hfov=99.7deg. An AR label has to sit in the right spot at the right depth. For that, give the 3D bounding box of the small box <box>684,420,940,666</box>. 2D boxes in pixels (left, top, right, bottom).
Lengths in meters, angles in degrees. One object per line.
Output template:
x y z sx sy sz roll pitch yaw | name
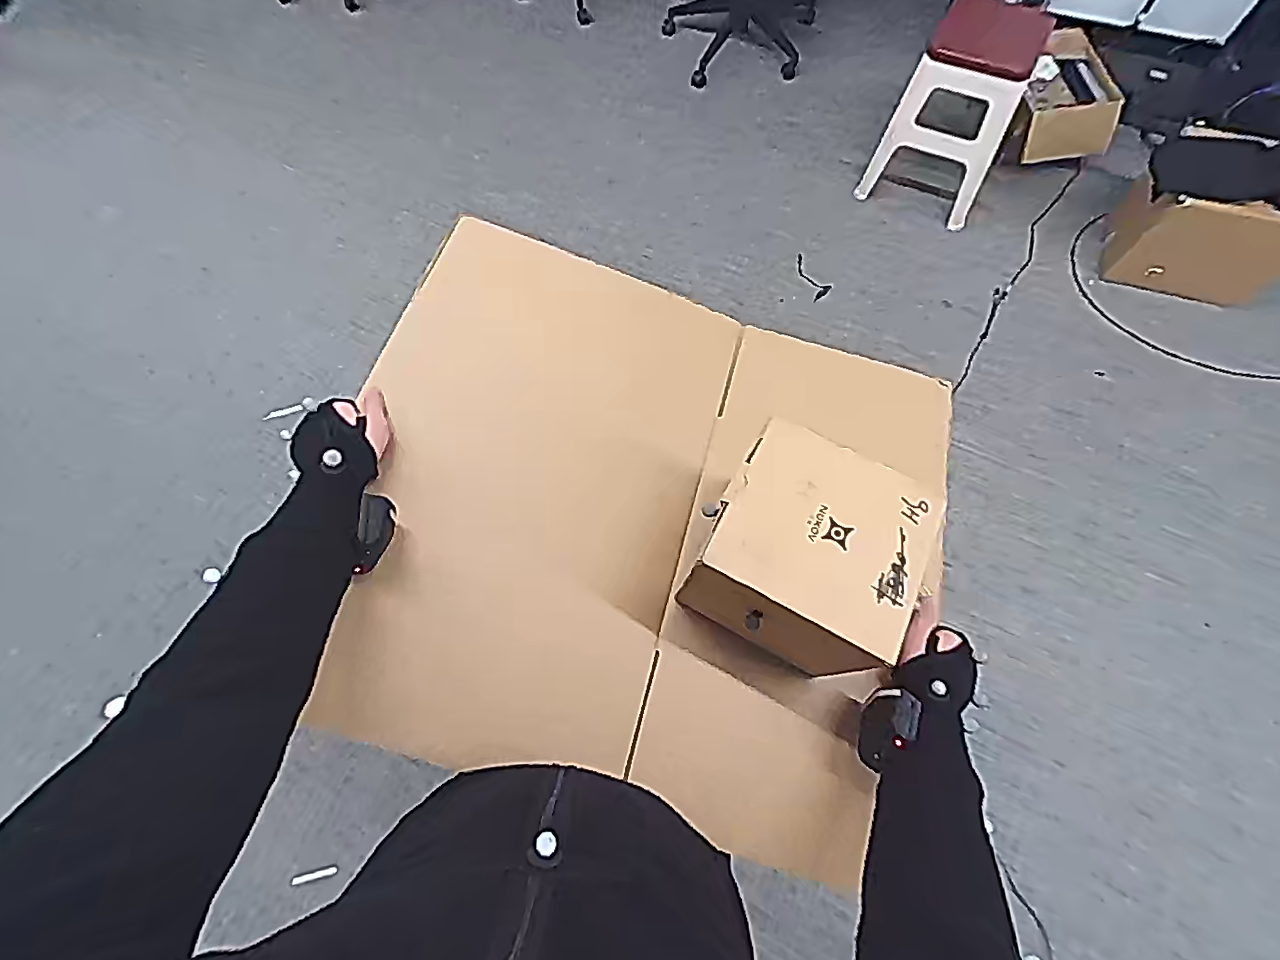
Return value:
0.158 0.075 0.550 0.179 0.176 0.168 26 68 9 | small box
